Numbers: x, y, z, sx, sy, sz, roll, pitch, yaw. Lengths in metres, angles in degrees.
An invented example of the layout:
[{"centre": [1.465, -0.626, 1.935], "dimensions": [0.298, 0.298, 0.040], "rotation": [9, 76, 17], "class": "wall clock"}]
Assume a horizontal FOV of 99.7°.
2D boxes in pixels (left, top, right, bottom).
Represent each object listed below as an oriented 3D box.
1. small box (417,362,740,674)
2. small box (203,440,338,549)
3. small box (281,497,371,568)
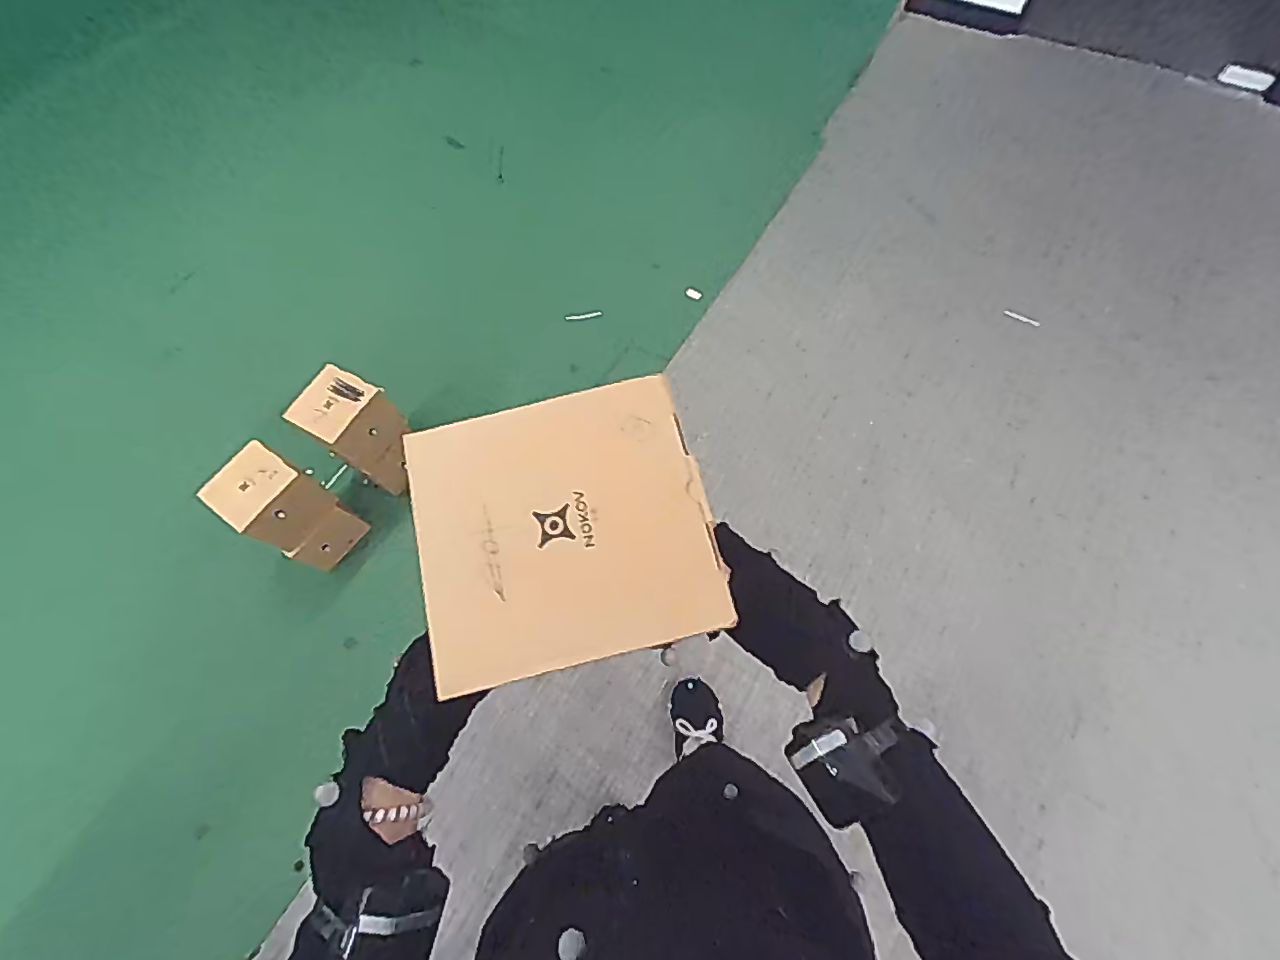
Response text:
[{"centre": [-0.041, 0.039, 0.407], "dimensions": [0.179, 0.176, 0.168], "rotation": [-14, 73, -1], "class": "small box"}, {"centre": [-0.888, 0.043, 1.317], "dimensions": [0.168, 0.176, 0.179], "rotation": [33, 72, 16], "class": "small box"}, {"centre": [-0.875, 0.121, 1.462], "dimensions": [0.179, 0.176, 0.168], "rotation": [34, 72, 17], "class": "small box"}]
